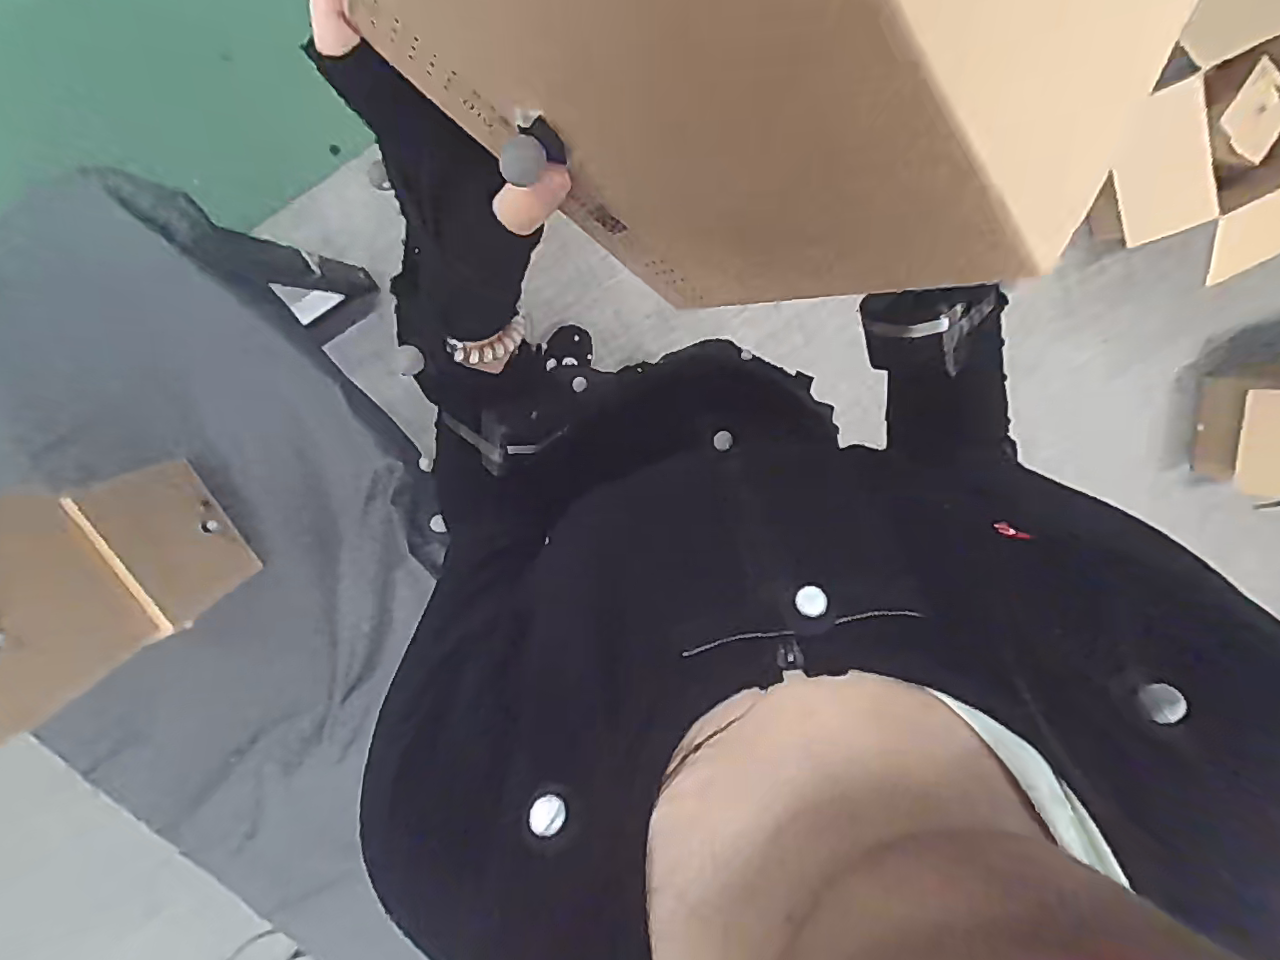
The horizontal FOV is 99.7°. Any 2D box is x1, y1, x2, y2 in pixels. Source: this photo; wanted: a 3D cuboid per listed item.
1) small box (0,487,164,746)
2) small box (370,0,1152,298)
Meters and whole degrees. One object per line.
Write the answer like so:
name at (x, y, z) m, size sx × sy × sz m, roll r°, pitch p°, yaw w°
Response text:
small box at (-0.586, 0.129, 0.468) m, size 0.168 × 0.176 × 0.179 m, roll -23°, pitch 106°, yaw 0°
small box at (0.034, -0.181, 0.168) m, size 0.168 × 0.176 × 0.179 m, roll 31°, pitch 86°, yaw -30°
